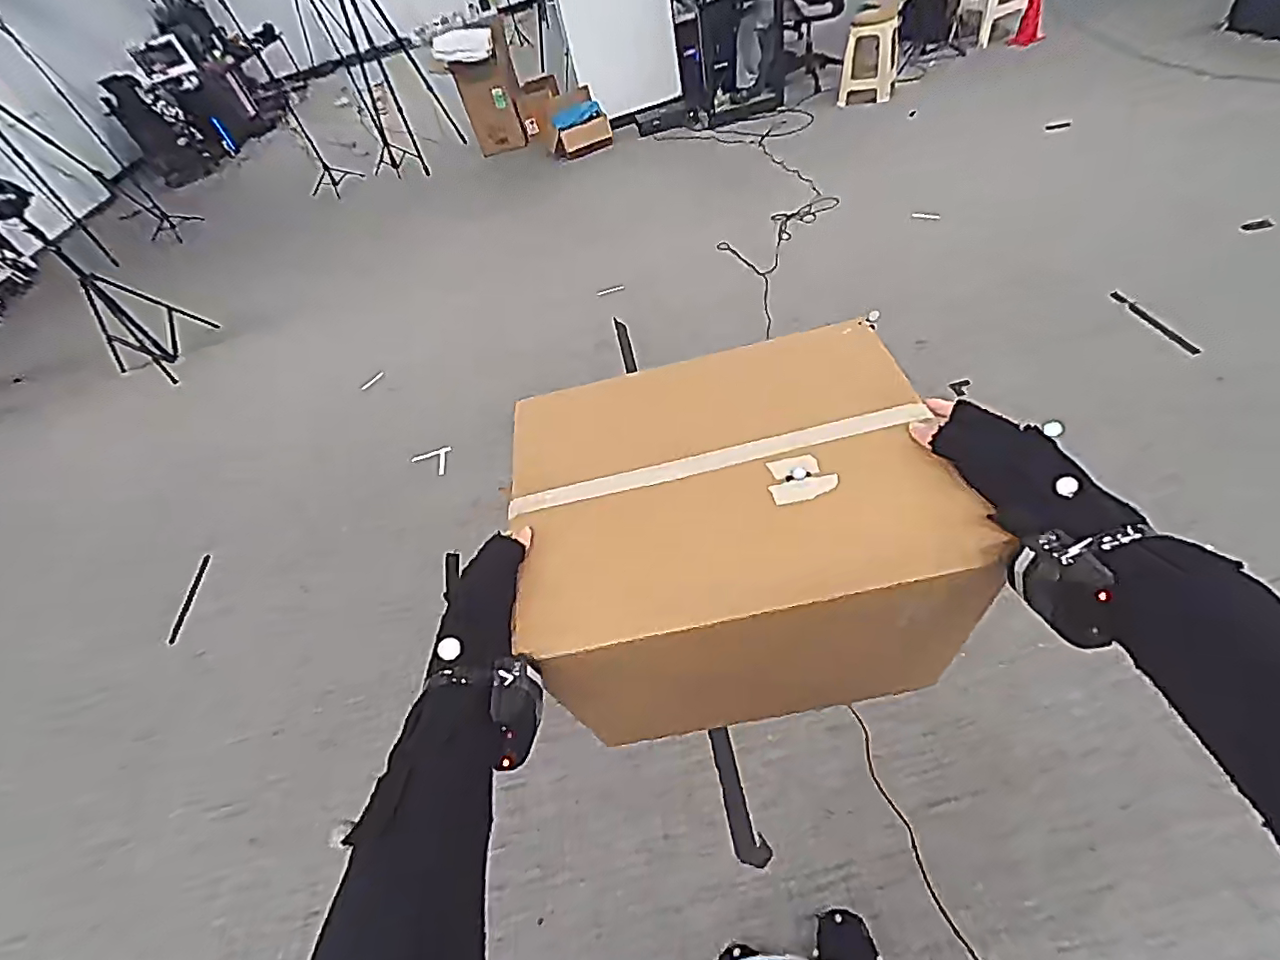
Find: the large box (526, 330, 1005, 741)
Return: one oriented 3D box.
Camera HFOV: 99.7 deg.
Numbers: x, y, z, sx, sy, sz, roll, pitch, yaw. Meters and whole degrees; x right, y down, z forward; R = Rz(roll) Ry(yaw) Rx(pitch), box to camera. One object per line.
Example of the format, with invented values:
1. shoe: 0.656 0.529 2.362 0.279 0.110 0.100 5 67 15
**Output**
1. large box: 0.105 0.079 0.646 0.408 0.320 0.320 -13 51 3
